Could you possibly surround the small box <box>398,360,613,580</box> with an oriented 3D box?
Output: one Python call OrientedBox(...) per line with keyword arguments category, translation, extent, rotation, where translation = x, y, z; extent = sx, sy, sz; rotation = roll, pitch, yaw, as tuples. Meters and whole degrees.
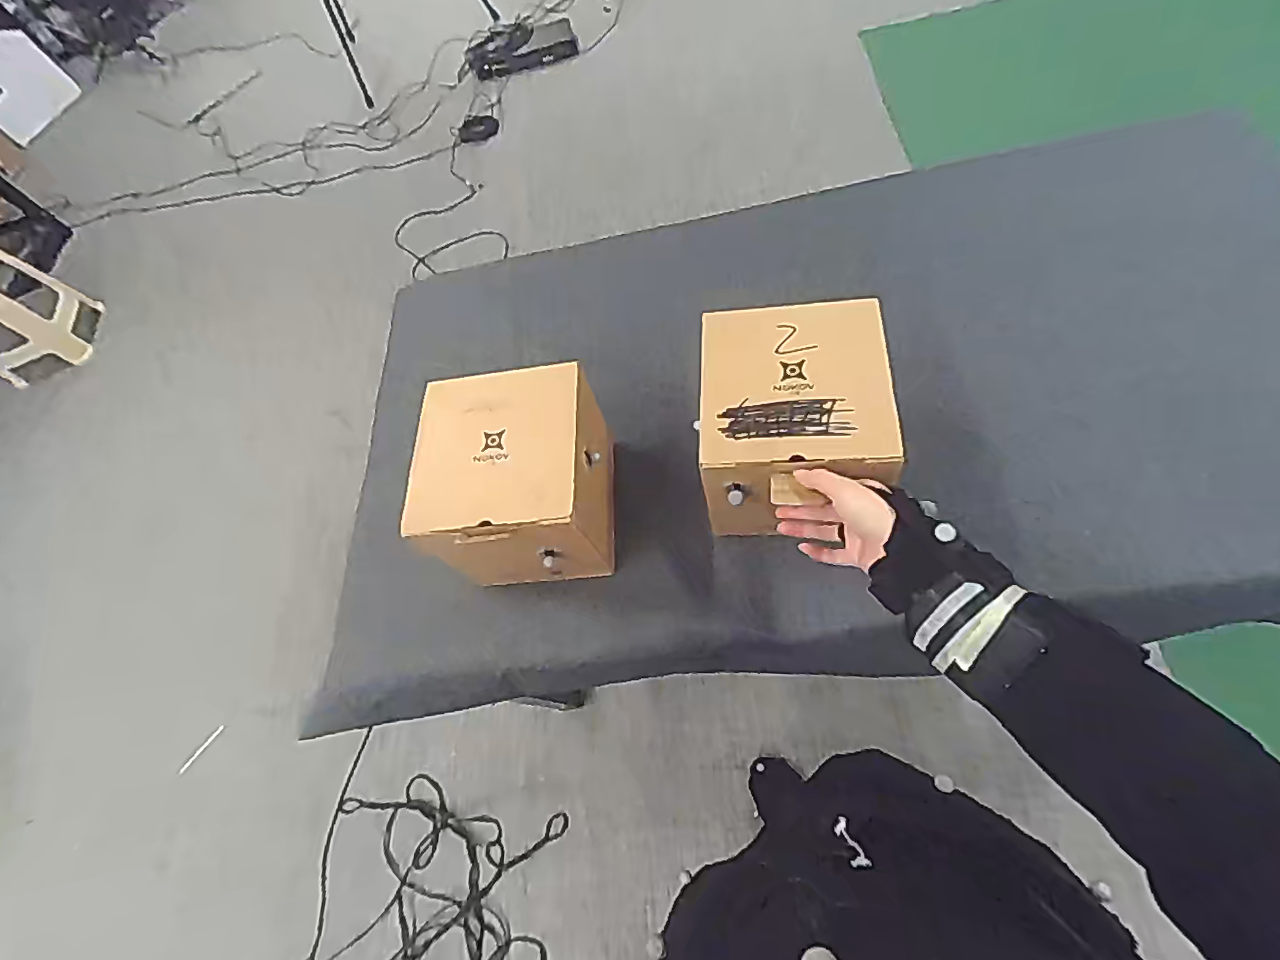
OrientedBox(category="small box", translation=(-0.125, 0.002, 0.578), extent=(0.168, 0.176, 0.179), rotation=(-6, 61, 8))
